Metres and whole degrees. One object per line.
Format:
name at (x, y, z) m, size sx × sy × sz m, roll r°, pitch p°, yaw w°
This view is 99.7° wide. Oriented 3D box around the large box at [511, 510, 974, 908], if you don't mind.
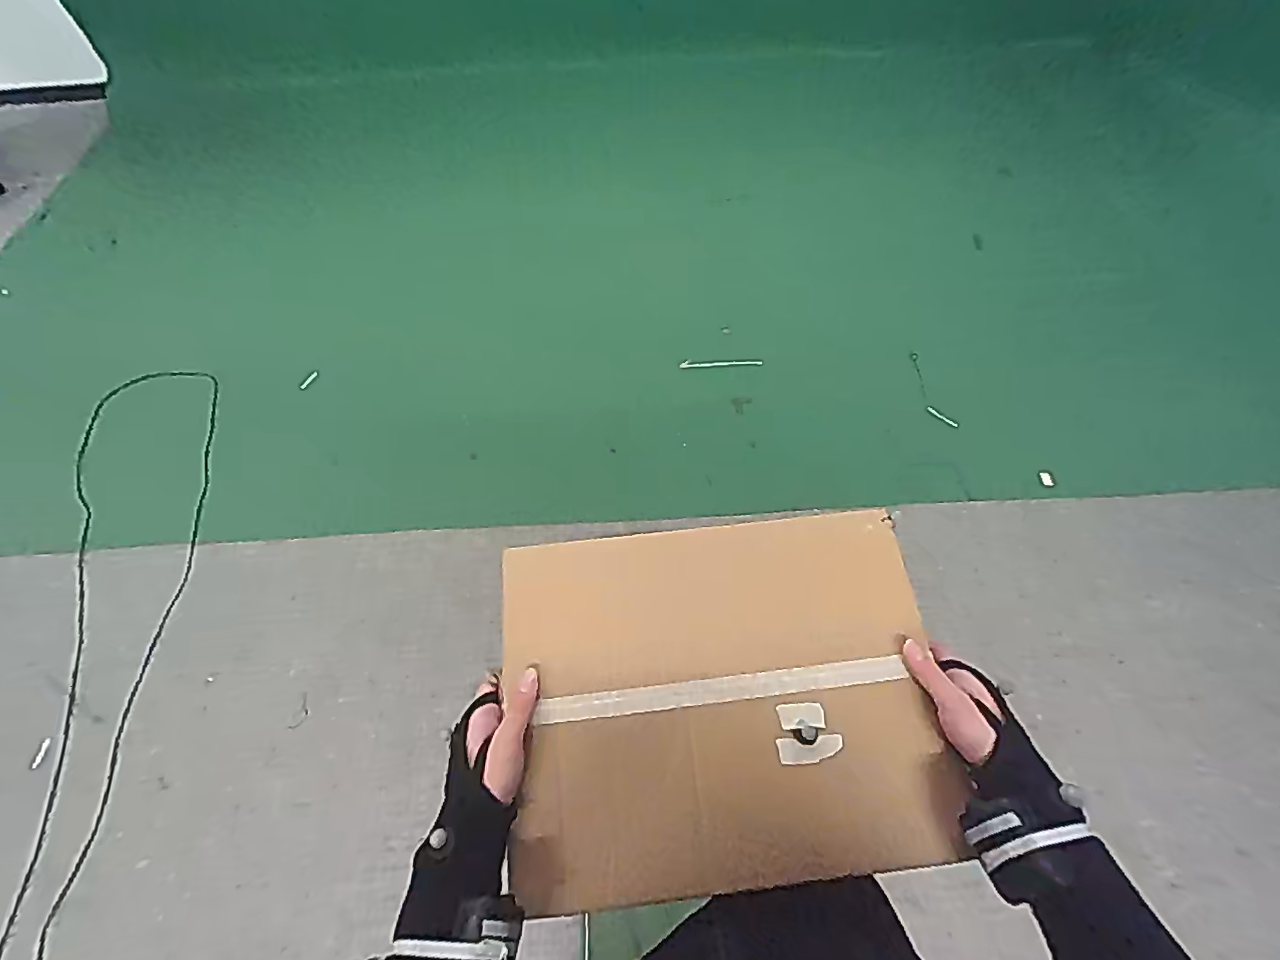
large box at (0.077, 0.254, 0.656) m, size 0.408 × 0.320 × 0.320 m, roll -6°, pitch 68°, yaw -3°
